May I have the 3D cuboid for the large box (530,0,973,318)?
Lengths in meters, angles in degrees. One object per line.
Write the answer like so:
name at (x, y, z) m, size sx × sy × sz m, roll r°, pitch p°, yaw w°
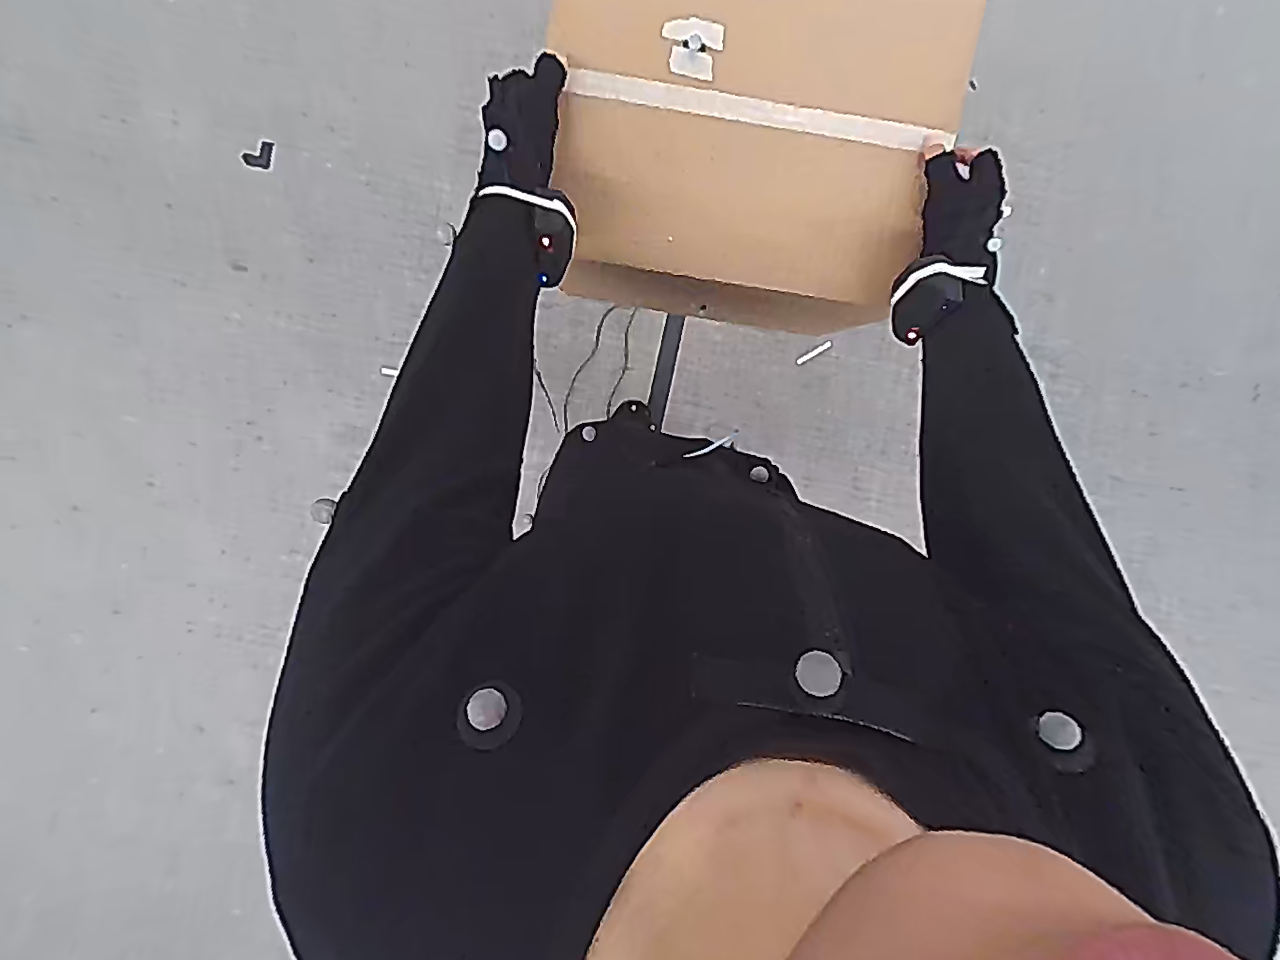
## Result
large box at (0.105, -0.397, 0.676) m, size 0.408 × 0.320 × 0.320 m, roll 9°, pitch 100°, yaw -2°
